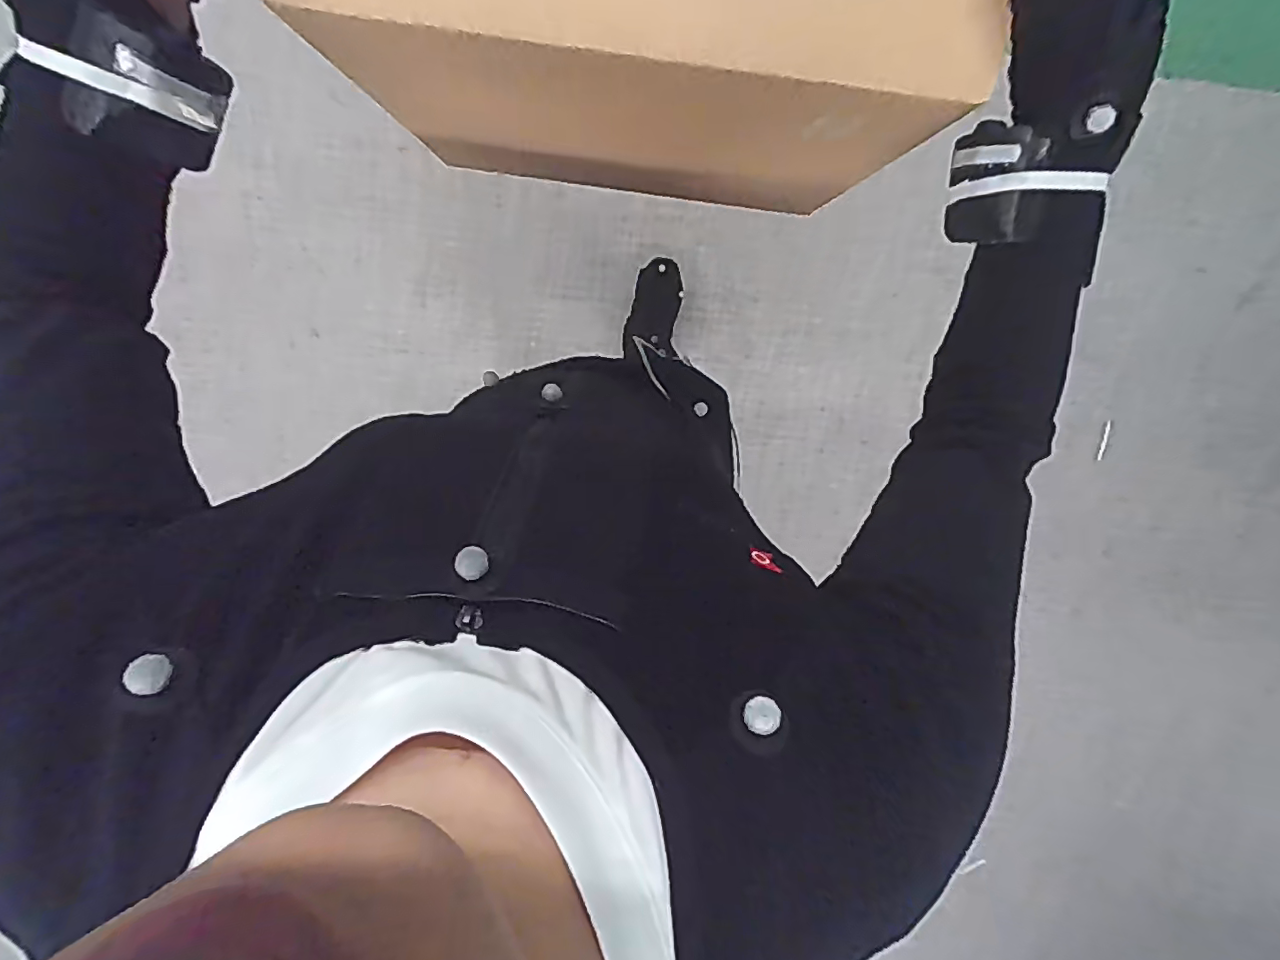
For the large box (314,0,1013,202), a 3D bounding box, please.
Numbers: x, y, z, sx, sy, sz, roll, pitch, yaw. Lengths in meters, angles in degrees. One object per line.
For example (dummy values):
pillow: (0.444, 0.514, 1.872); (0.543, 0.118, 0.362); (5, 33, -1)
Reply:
large box: (0.019, -0.431, 0.411); (0.408, 0.320, 0.320); (5, 106, -4)
